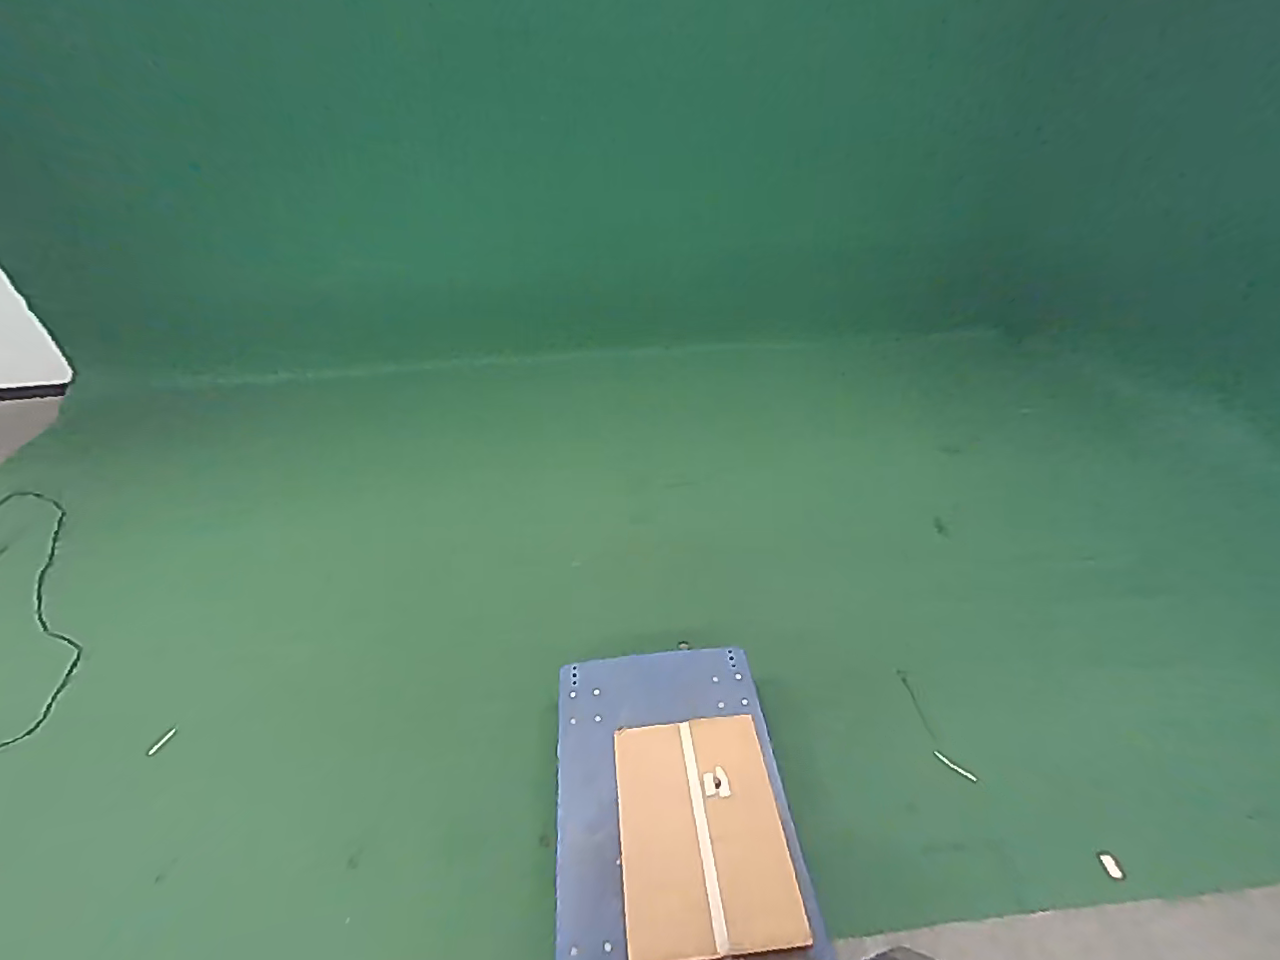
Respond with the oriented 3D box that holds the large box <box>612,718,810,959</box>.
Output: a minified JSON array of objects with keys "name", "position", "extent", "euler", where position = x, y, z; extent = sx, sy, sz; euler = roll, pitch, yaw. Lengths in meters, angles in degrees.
[{"name":"large box","position":[0.118,0.788,1.139],"extent":[0.320,0.320,0.408],"euler":[-5,38,-4]}]
